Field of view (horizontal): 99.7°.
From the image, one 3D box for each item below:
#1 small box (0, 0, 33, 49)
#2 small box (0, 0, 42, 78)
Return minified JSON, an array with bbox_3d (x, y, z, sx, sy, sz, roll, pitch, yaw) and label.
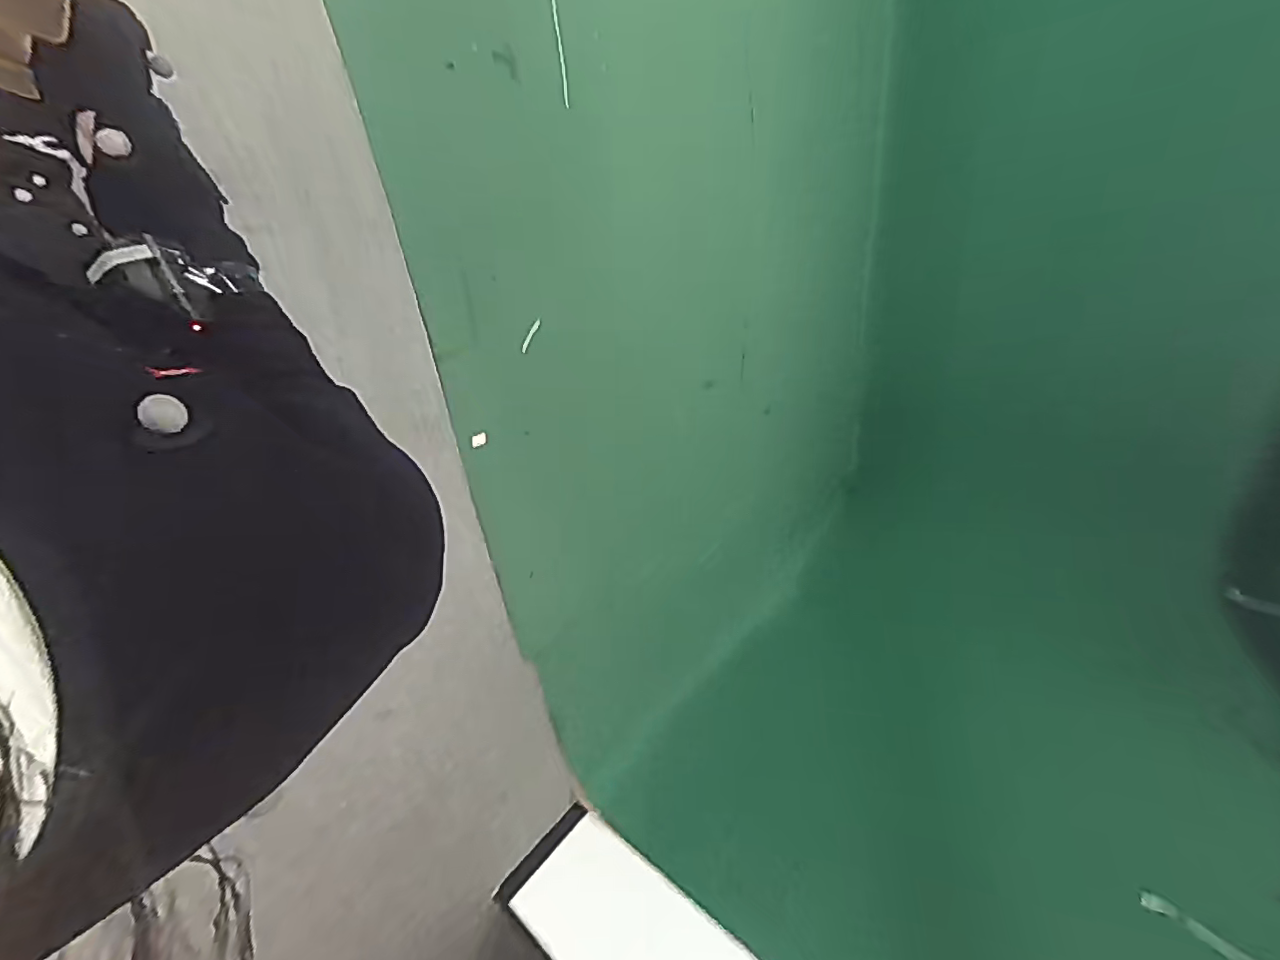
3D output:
[{"bbox_3d":[-0.356,-0.310,0.204,0.168,0.176,0.179,-2,114,-47],"label":"small box"},{"bbox_3d":[-0.482,-0.369,0.316,0.179,0.176,0.168,-2,113,-49],"label":"small box"}]
